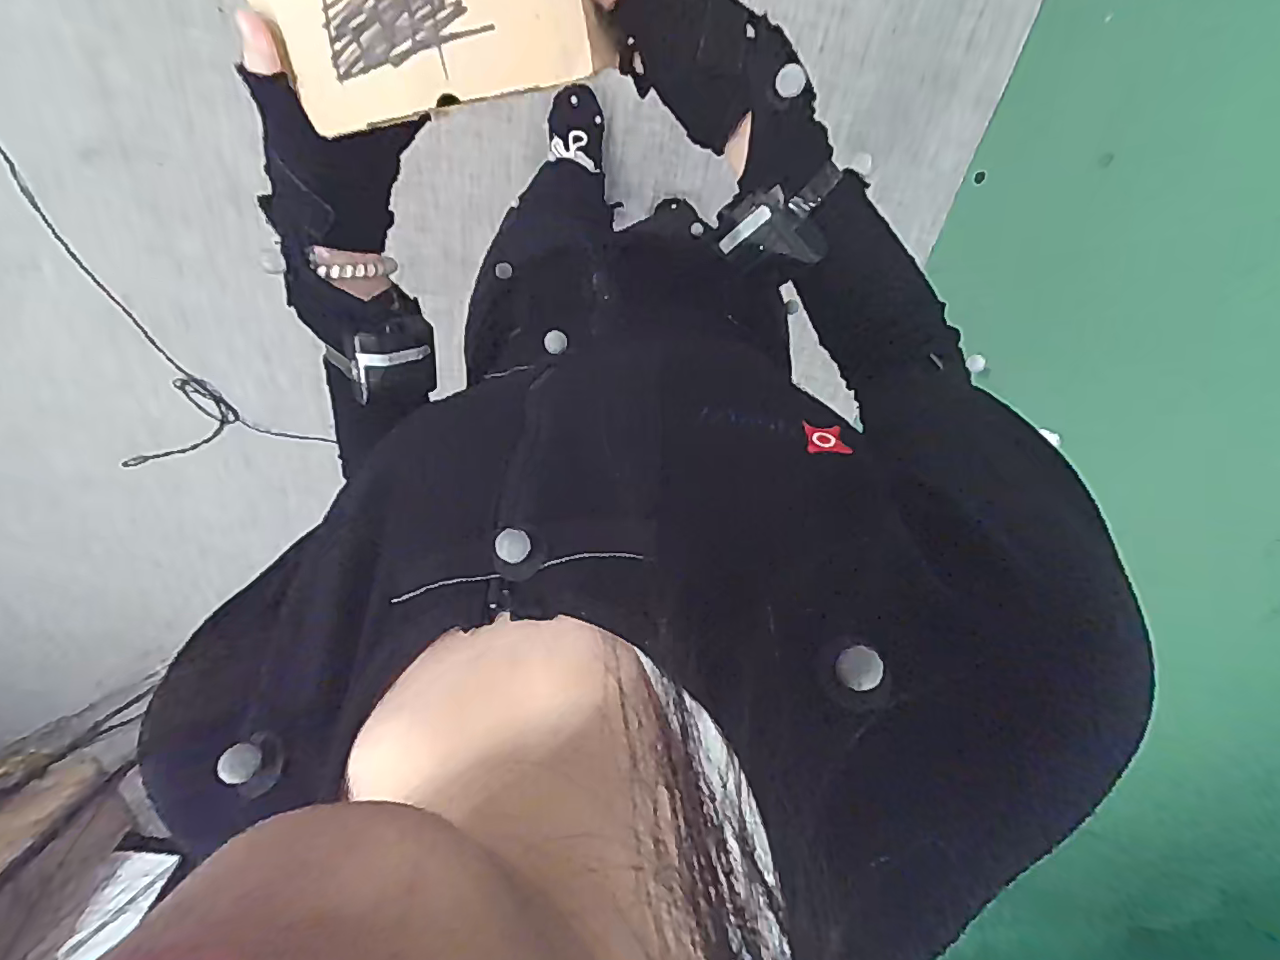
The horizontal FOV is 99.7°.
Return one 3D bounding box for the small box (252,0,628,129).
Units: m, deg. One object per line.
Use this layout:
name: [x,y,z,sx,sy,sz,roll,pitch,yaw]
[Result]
small box: [-0.108,-0.319,0.286,0.168,0.176,0.179,-4,134,11]
